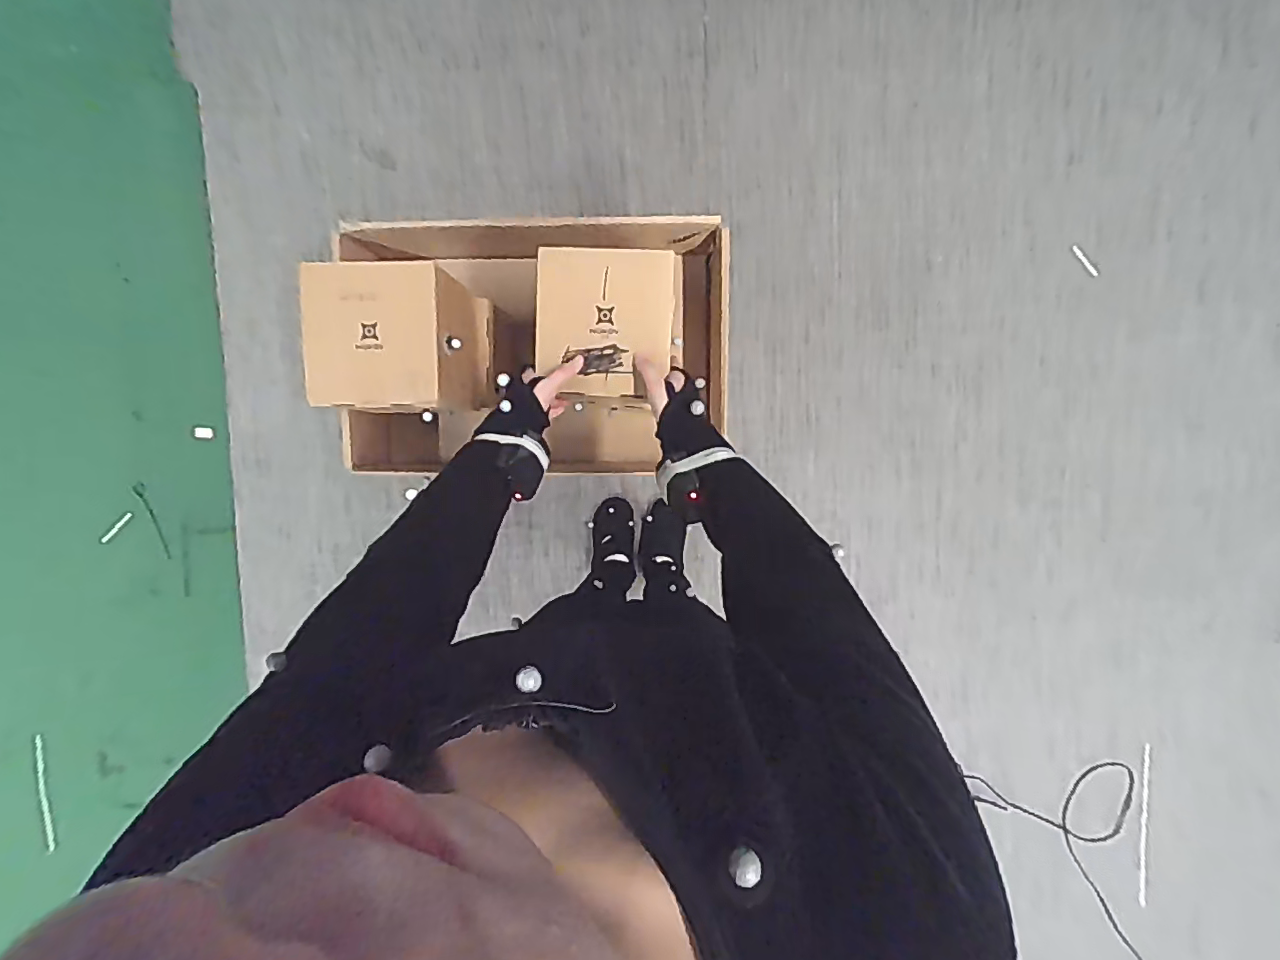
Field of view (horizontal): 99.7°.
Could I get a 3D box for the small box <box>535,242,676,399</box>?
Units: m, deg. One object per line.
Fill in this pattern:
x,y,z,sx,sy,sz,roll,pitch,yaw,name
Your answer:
-0.038,-0.202,0.730,0.168,0.176,0.179,3,95,3,small box

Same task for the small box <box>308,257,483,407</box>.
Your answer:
-0.322,-0.191,0.743,0.168,0.176,0.179,1,95,2,small box
